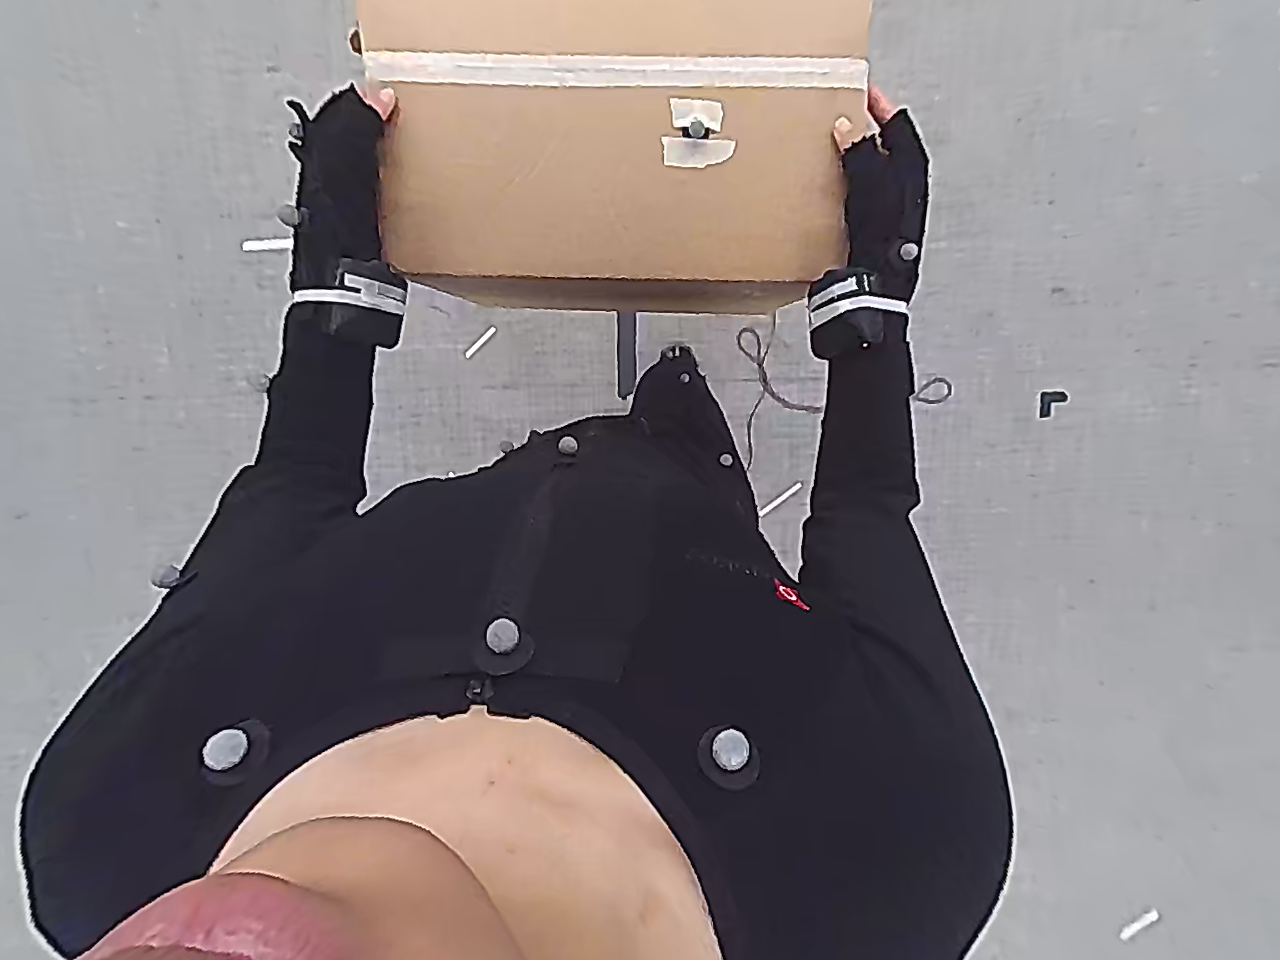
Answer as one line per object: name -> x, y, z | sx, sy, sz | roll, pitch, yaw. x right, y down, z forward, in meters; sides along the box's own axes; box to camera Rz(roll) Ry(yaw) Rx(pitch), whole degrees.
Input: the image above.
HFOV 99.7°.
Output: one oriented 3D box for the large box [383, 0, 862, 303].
large box -> -0.017, -0.376, 0.603 | 0.408, 0.320, 0.320 | 1, 103, -1
